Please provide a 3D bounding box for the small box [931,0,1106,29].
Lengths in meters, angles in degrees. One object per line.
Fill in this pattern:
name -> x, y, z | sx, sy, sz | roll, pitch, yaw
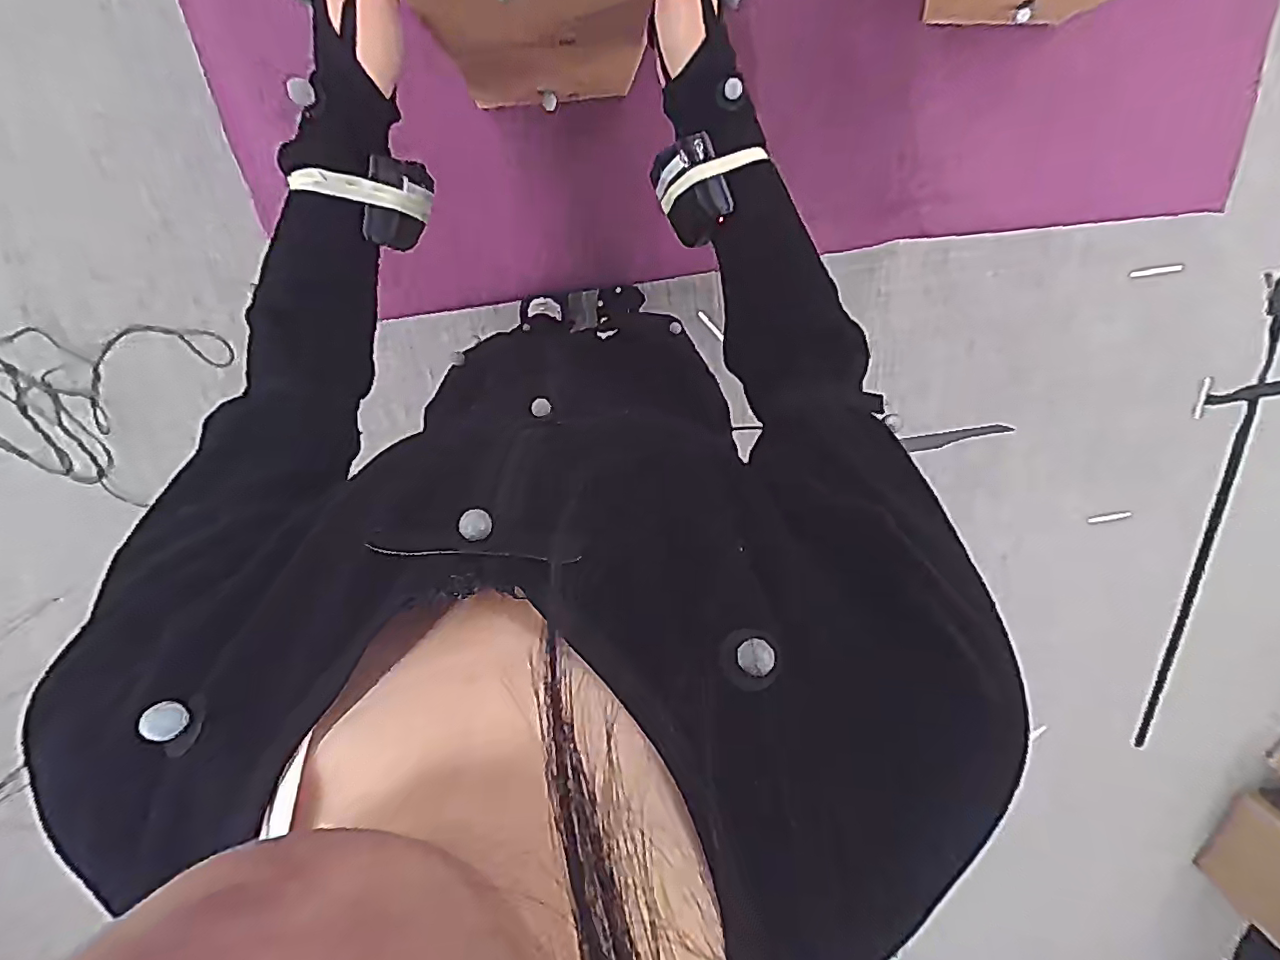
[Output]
small box -> 0.405, -0.566, 0.507 | 0.168, 0.176, 0.179 | -4, 113, -5

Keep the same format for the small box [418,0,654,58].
small box -> -0.076, -0.398, 0.335 | 0.168, 0.176, 0.179 | -6, 113, -5

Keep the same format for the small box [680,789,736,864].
small box -> 0.259, 1.323, 2.080 | 0.168, 0.176, 0.179 | -13, 114, -2

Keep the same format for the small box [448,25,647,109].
small box -> -0.091, -0.461, 0.485 | 0.168, 0.176, 0.179 | -8, 114, -4
